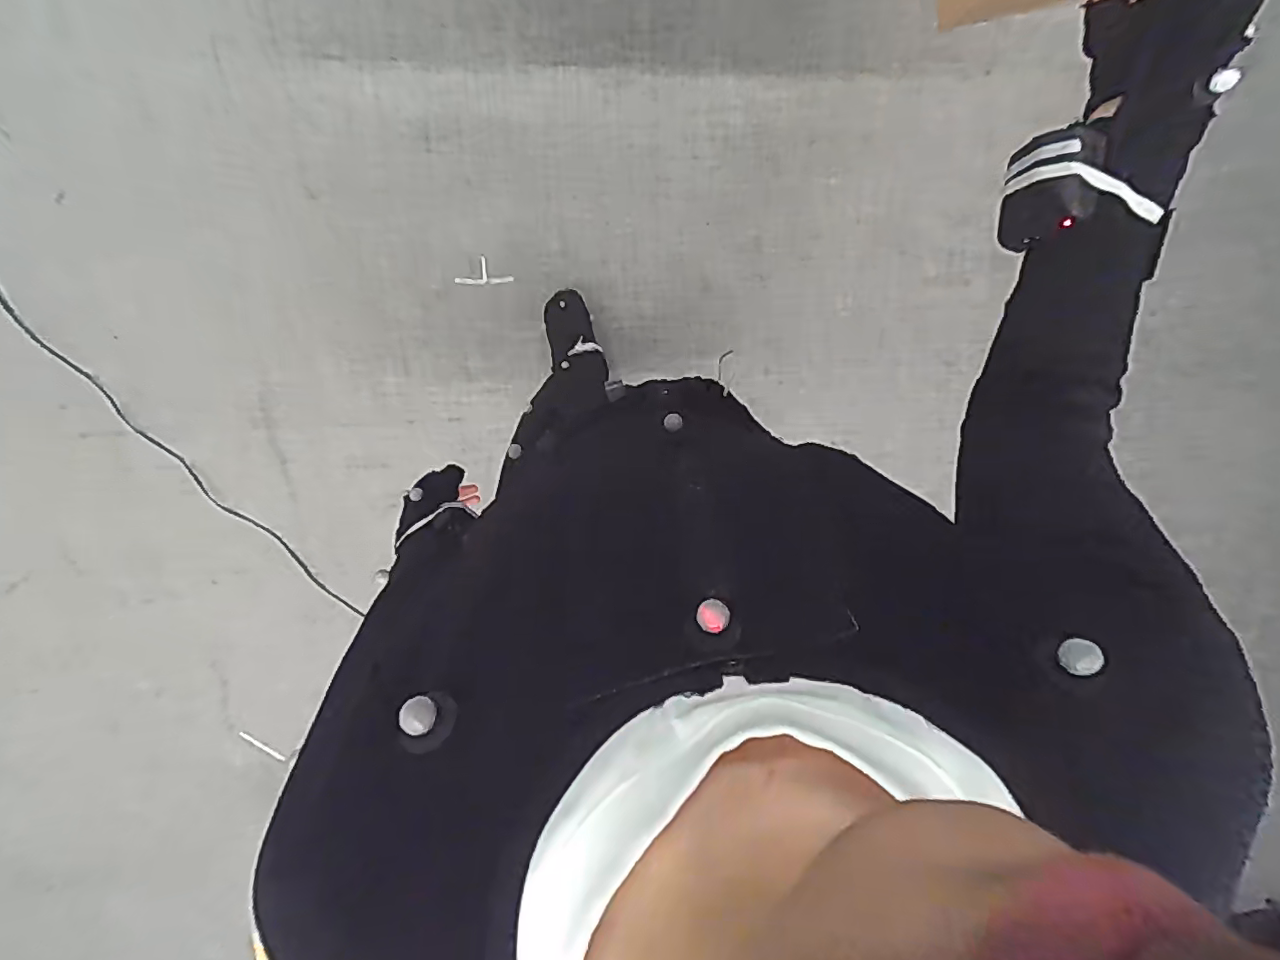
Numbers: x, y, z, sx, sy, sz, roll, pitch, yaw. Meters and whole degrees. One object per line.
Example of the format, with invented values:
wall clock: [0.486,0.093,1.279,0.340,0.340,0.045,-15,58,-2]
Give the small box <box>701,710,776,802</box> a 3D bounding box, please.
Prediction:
small box: [0.276,0.793,1.560,0.168,0.176,0.179,3,101,-7]

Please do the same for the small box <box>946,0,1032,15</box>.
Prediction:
small box: [0.329,-0.489,0.381,0.168,0.176,0.179,-11,103,0]
